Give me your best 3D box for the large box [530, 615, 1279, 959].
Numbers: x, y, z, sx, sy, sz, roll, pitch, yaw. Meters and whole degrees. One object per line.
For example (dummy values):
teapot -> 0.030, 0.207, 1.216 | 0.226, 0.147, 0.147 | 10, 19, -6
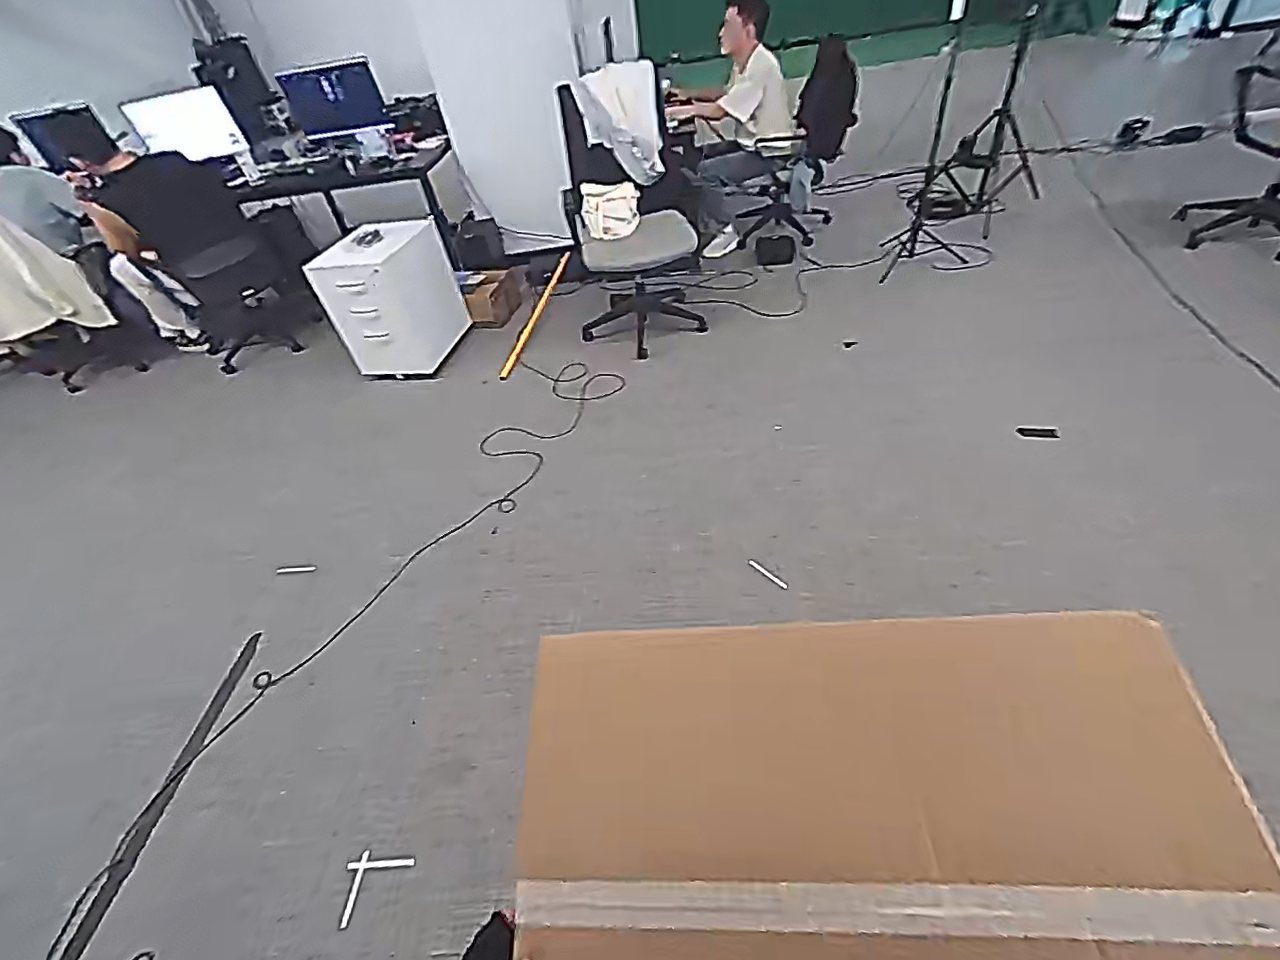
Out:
large box -> 0.152, 0.314, 0.432 | 0.408, 0.320, 0.320 | -5, 60, 8
